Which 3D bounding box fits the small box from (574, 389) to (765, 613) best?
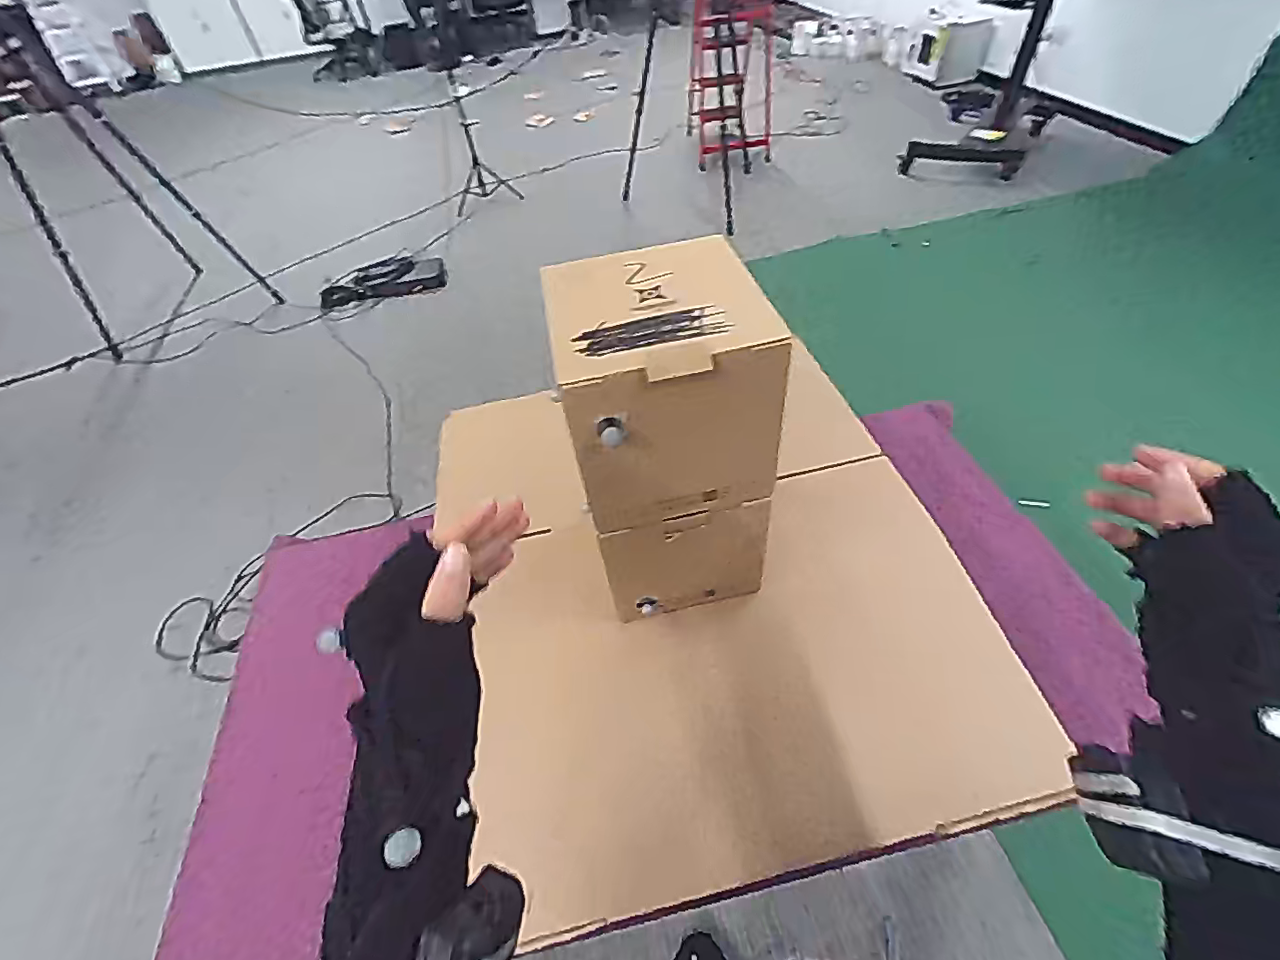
[{"bbox_3d":[0.031,0.030,0.603,0.168,0.176,0.179,-12,47,-3],"label":"small box"}]
